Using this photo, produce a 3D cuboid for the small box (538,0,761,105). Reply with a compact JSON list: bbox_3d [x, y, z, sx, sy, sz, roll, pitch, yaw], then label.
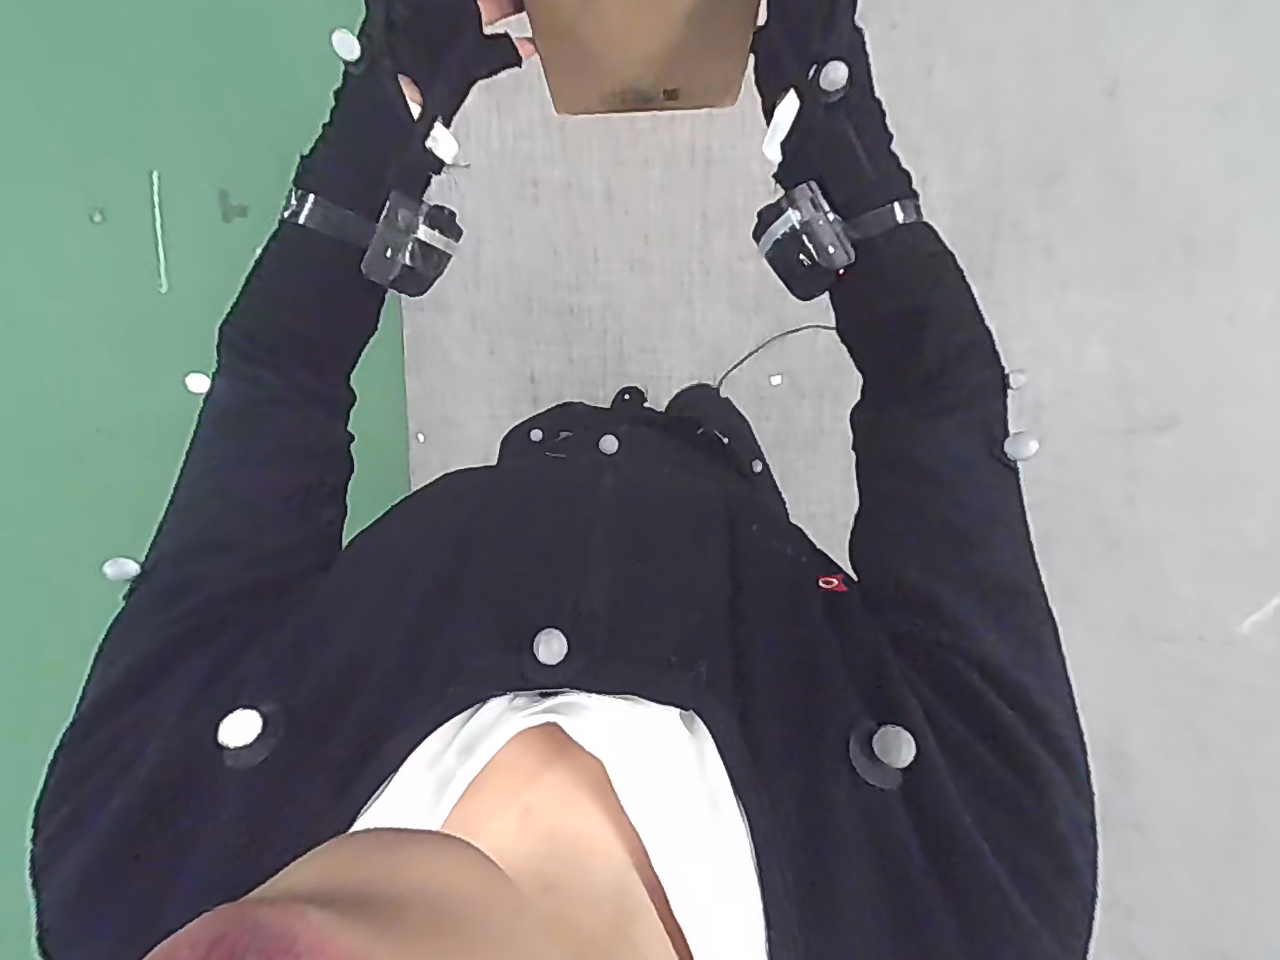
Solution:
[{"bbox_3d":[0.005,-0.424,0.403,0.168,0.176,0.179,-1,89,2],"label":"small box"}]
